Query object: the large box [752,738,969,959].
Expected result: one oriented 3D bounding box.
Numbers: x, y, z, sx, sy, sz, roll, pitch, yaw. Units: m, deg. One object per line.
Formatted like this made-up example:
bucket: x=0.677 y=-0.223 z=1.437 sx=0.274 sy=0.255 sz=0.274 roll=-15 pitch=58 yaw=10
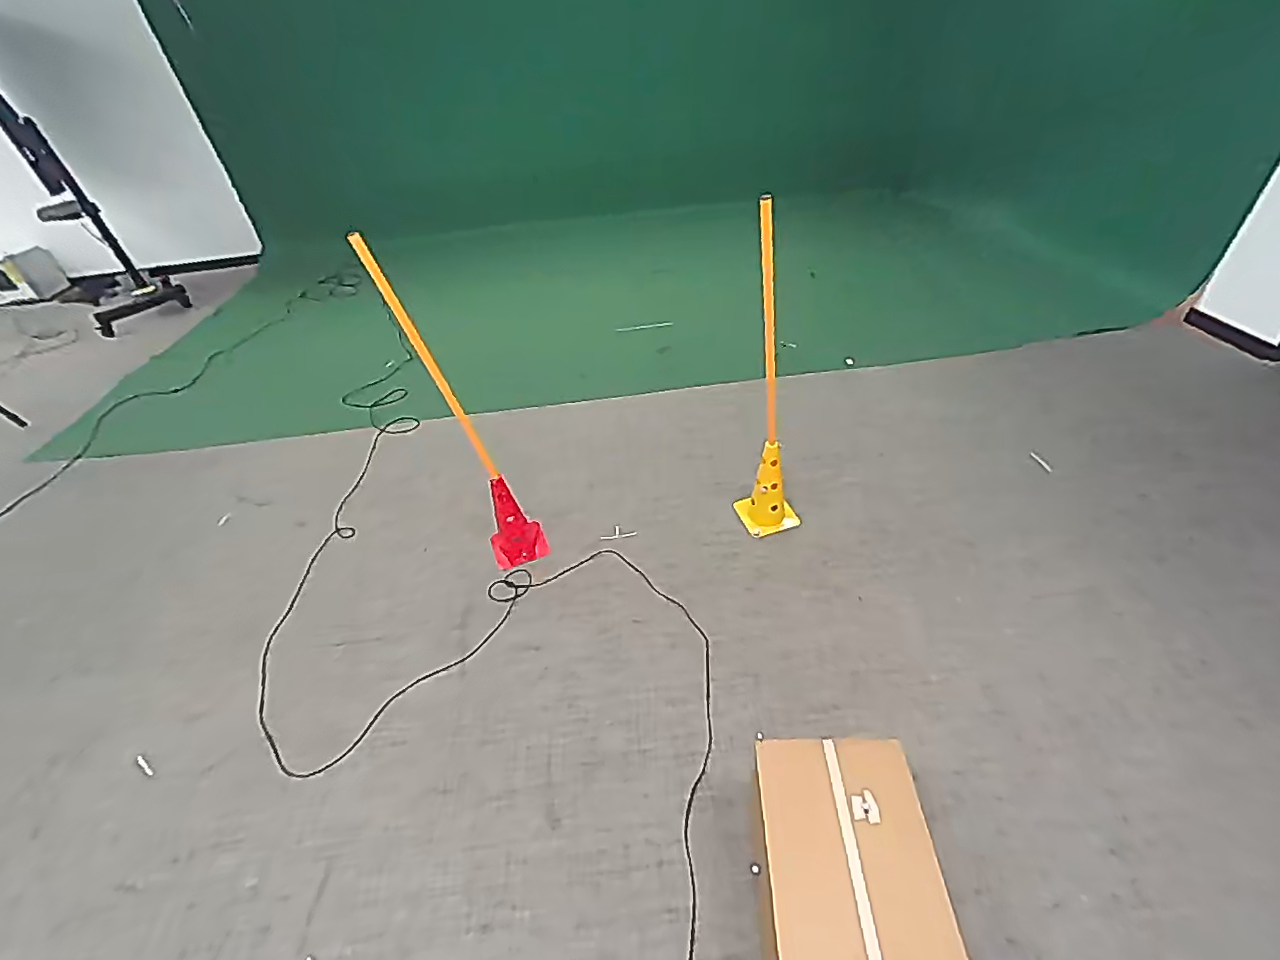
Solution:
large box: x=0.414 y=0.811 z=1.130 sx=0.320 sy=0.320 sz=0.408 roll=-2 pitch=40 yaw=5
